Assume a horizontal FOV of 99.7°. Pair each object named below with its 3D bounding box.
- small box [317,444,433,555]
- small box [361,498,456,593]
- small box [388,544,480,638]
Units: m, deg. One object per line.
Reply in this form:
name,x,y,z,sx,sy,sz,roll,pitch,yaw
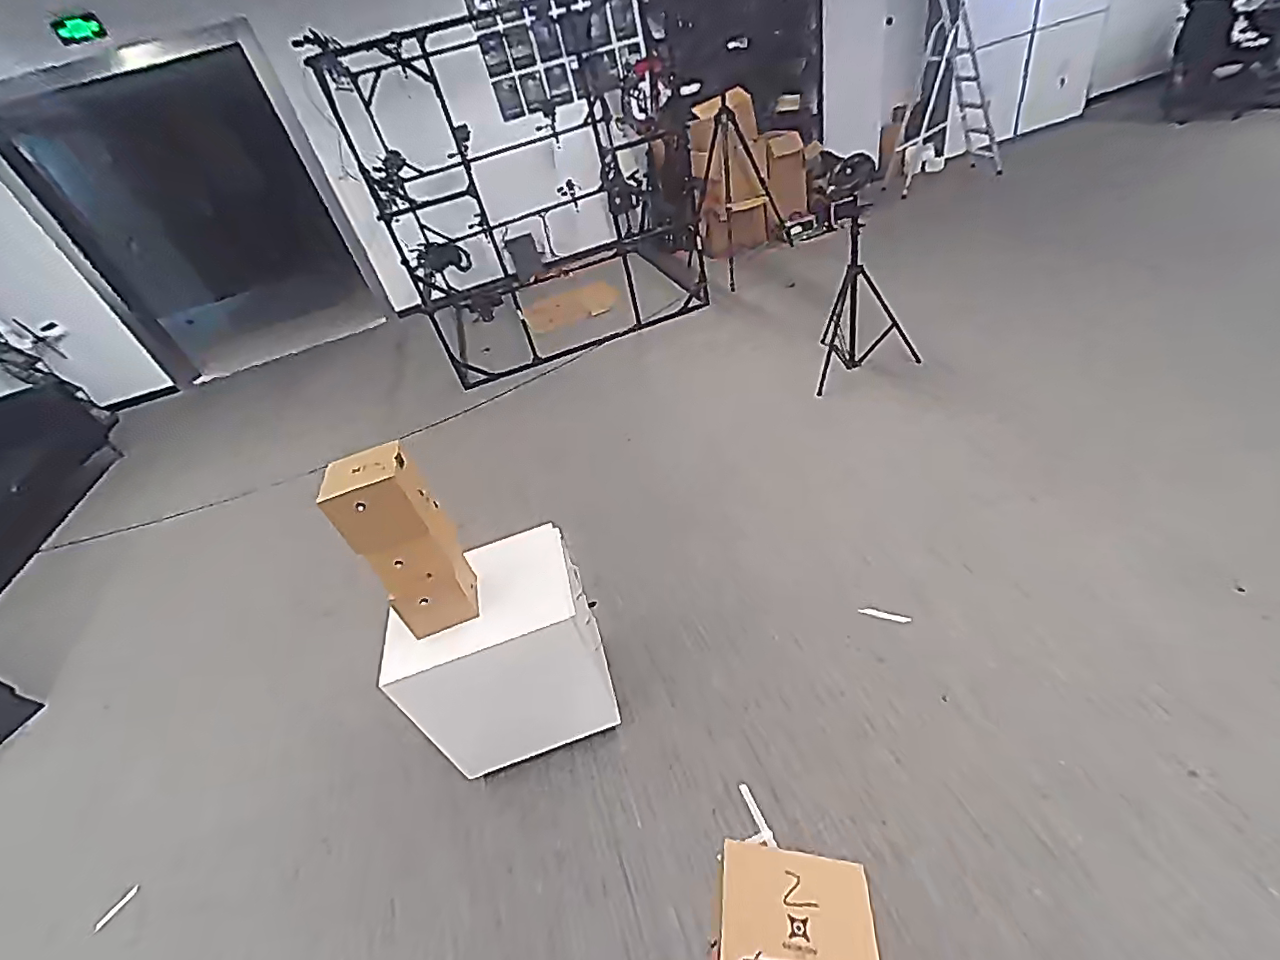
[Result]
small box,-0.612,0.048,1.270,0.179,0.176,0.168,-20,38,-6
small box,-0.582,0.165,1.384,0.168,0.176,0.179,-20,37,-5
small box,-0.555,0.300,1.471,0.179,0.176,0.168,-20,38,-7
